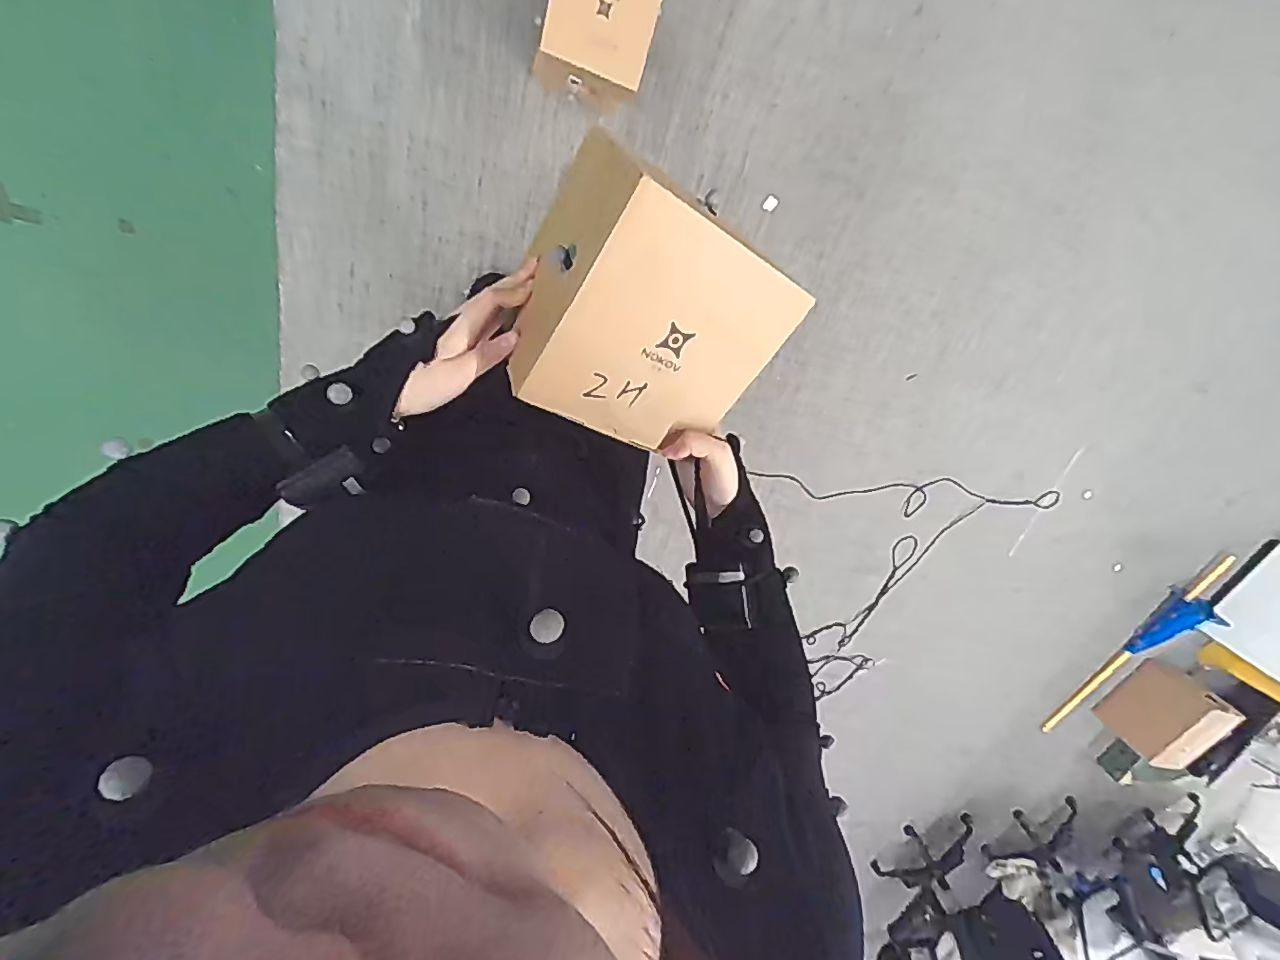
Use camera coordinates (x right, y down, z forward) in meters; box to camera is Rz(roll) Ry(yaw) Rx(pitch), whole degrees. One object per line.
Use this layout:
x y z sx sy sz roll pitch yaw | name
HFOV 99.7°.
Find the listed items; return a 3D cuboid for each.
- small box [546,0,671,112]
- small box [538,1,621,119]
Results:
-0.059 -0.746 0.898 0.168 0.176 0.179 11 116 -16 | small box
-0.092 -0.824 1.037 0.168 0.176 0.179 14 115 -19 | small box
